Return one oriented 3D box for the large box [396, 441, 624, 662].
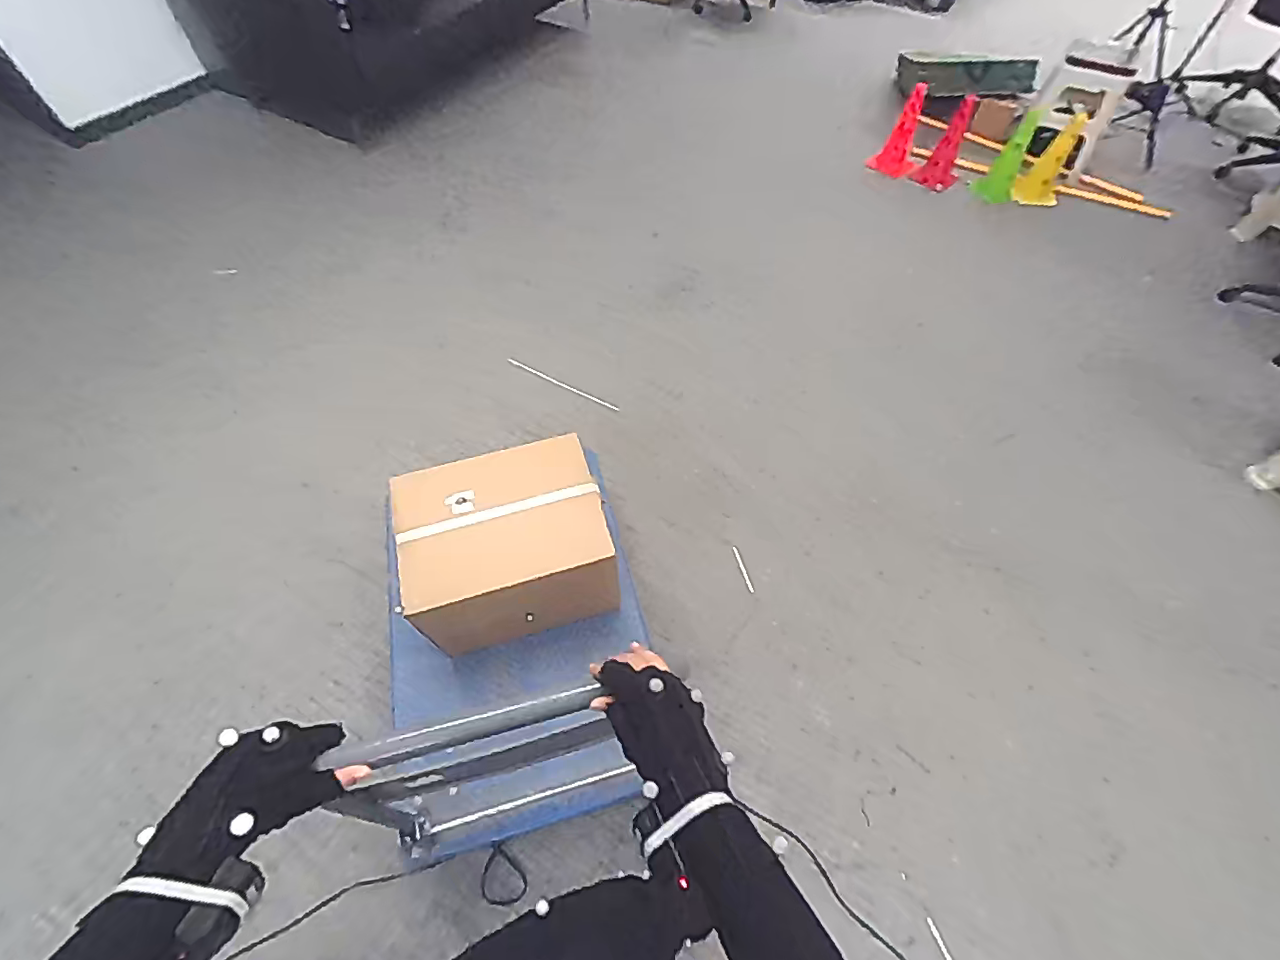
[{"bbox_3d":[-0.273,0.167,1.215,0.408,0.320,0.320,-16,59,-10],"label":"large box"}]
